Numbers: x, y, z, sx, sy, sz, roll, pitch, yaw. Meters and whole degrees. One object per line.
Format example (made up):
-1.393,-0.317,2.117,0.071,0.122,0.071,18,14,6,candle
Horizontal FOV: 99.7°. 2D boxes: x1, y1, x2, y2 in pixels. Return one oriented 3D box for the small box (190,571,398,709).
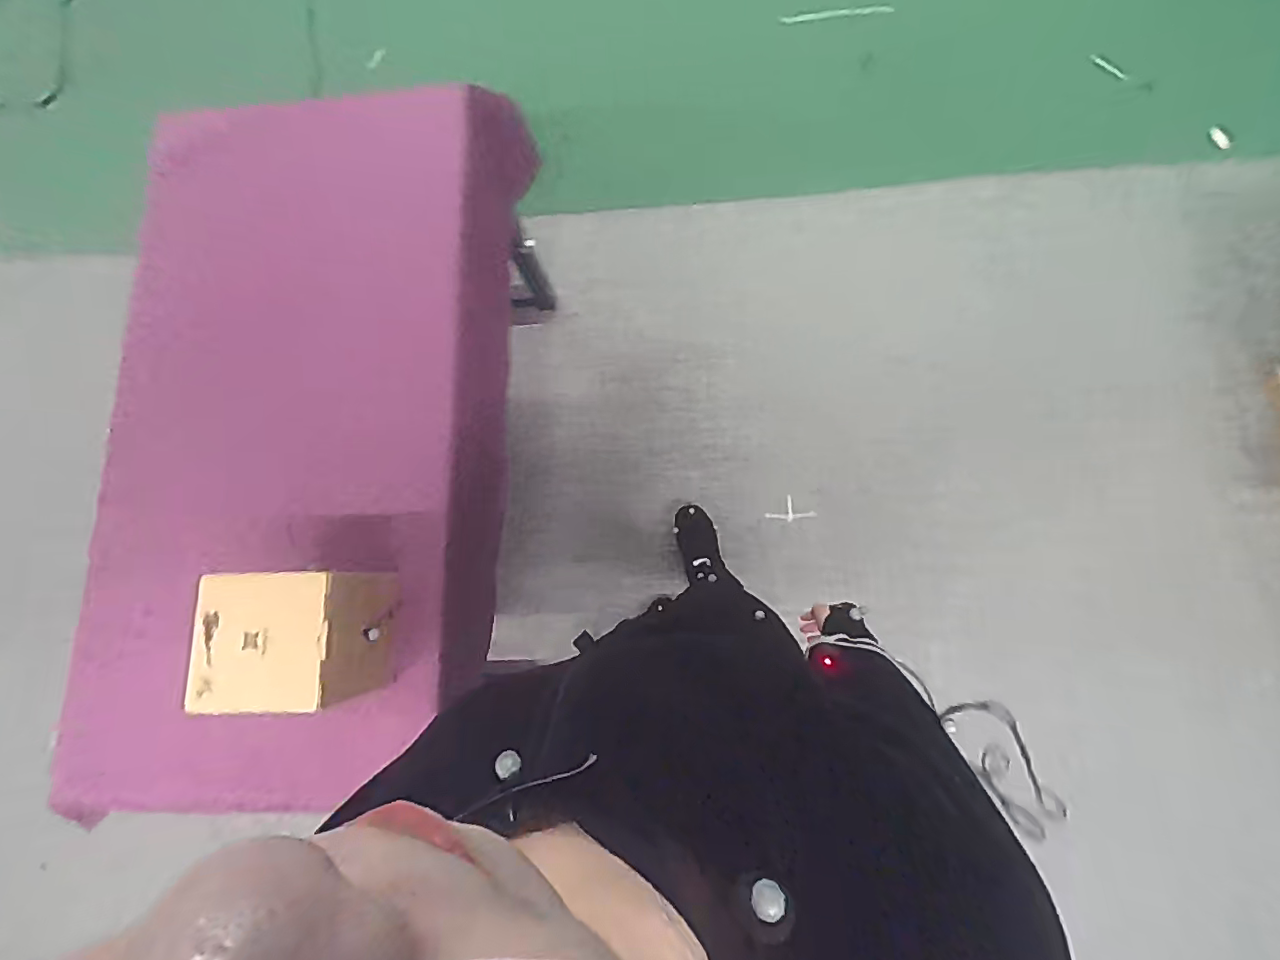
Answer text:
-0.458,0.209,0.744,0.179,0.176,0.168,-2,79,5,small box
